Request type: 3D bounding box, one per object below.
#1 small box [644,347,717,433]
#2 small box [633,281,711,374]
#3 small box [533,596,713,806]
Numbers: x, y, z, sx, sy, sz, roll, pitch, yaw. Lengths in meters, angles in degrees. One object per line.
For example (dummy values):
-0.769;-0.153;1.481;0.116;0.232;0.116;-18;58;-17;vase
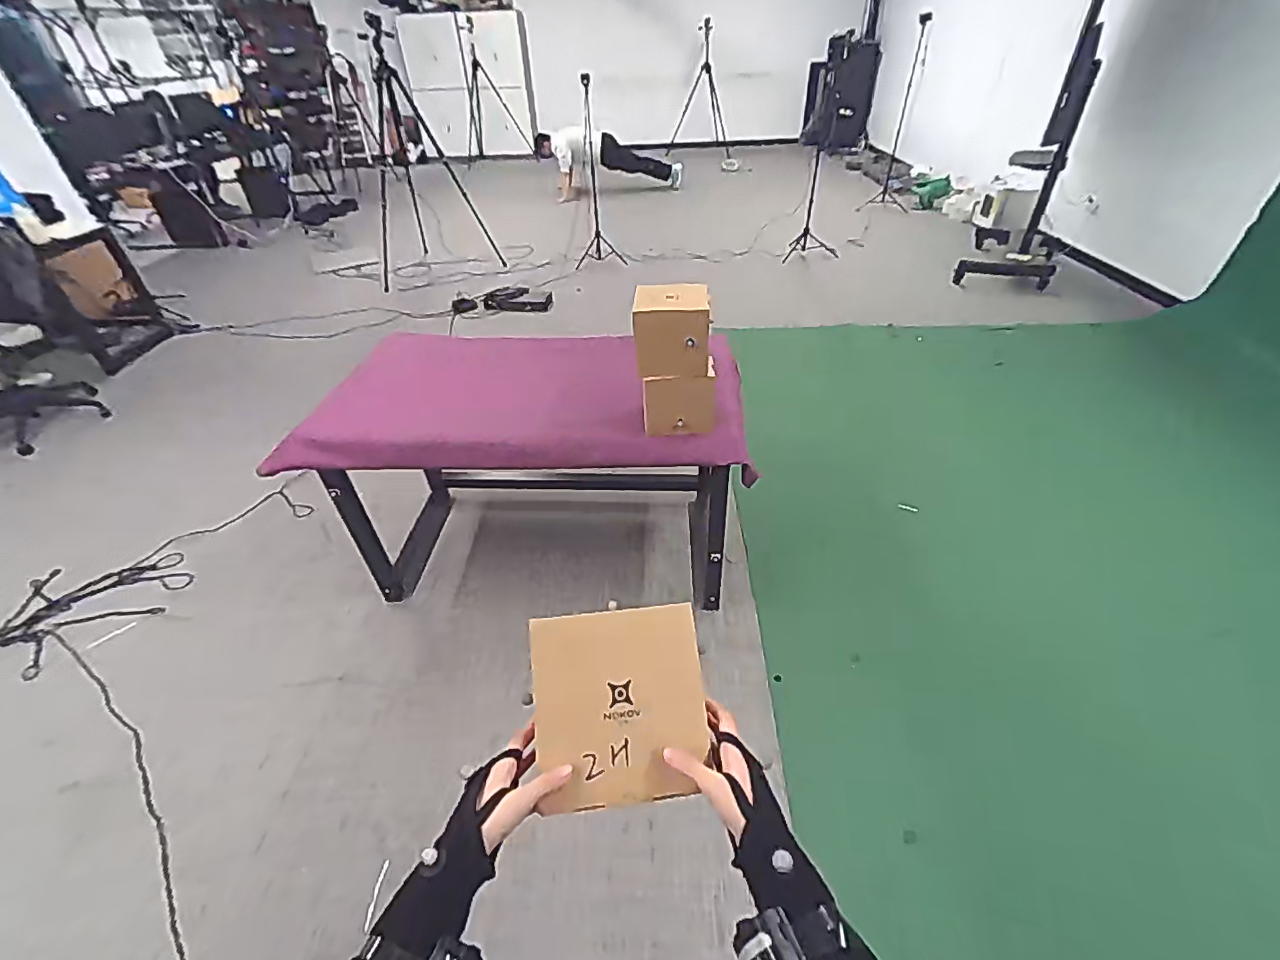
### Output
0.099;-0.235;1.403;0.179;0.176;0.168;-3;40;1;small box
0.080;-0.366;1.306;0.179;0.176;0.168;0;40;6;small box
-0.026;0.231;0.595;0.168;0.176;0.179;-4;74;-6;small box
